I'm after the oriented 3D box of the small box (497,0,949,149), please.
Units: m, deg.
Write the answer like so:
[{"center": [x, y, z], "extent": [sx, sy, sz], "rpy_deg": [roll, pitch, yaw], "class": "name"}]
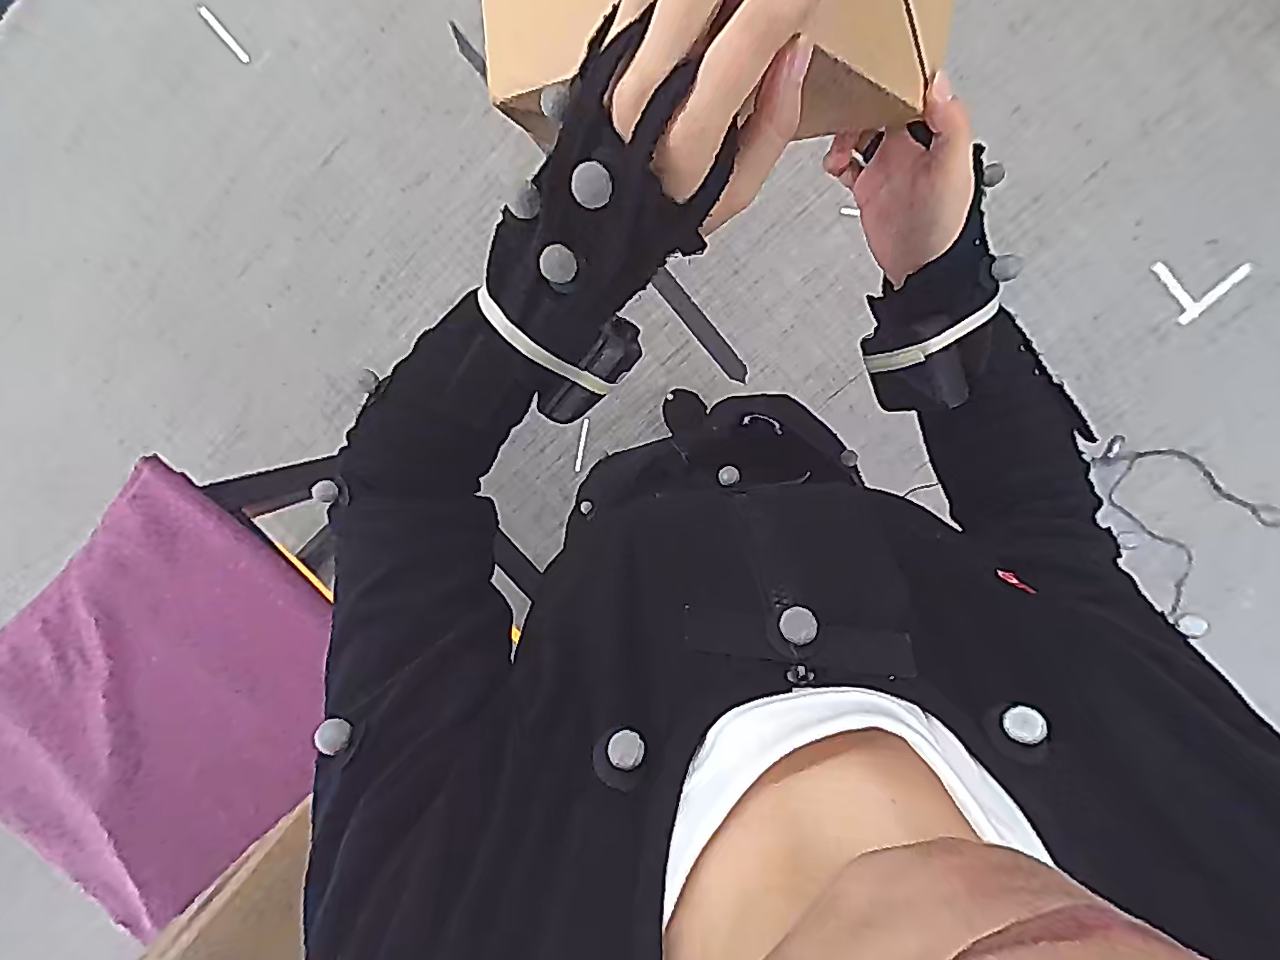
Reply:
[{"center": [0.047, -0.276, 0.264], "extent": [0.176, 0.179, 0.168], "rpy_deg": [19, 117, 39], "class": "small box"}]
